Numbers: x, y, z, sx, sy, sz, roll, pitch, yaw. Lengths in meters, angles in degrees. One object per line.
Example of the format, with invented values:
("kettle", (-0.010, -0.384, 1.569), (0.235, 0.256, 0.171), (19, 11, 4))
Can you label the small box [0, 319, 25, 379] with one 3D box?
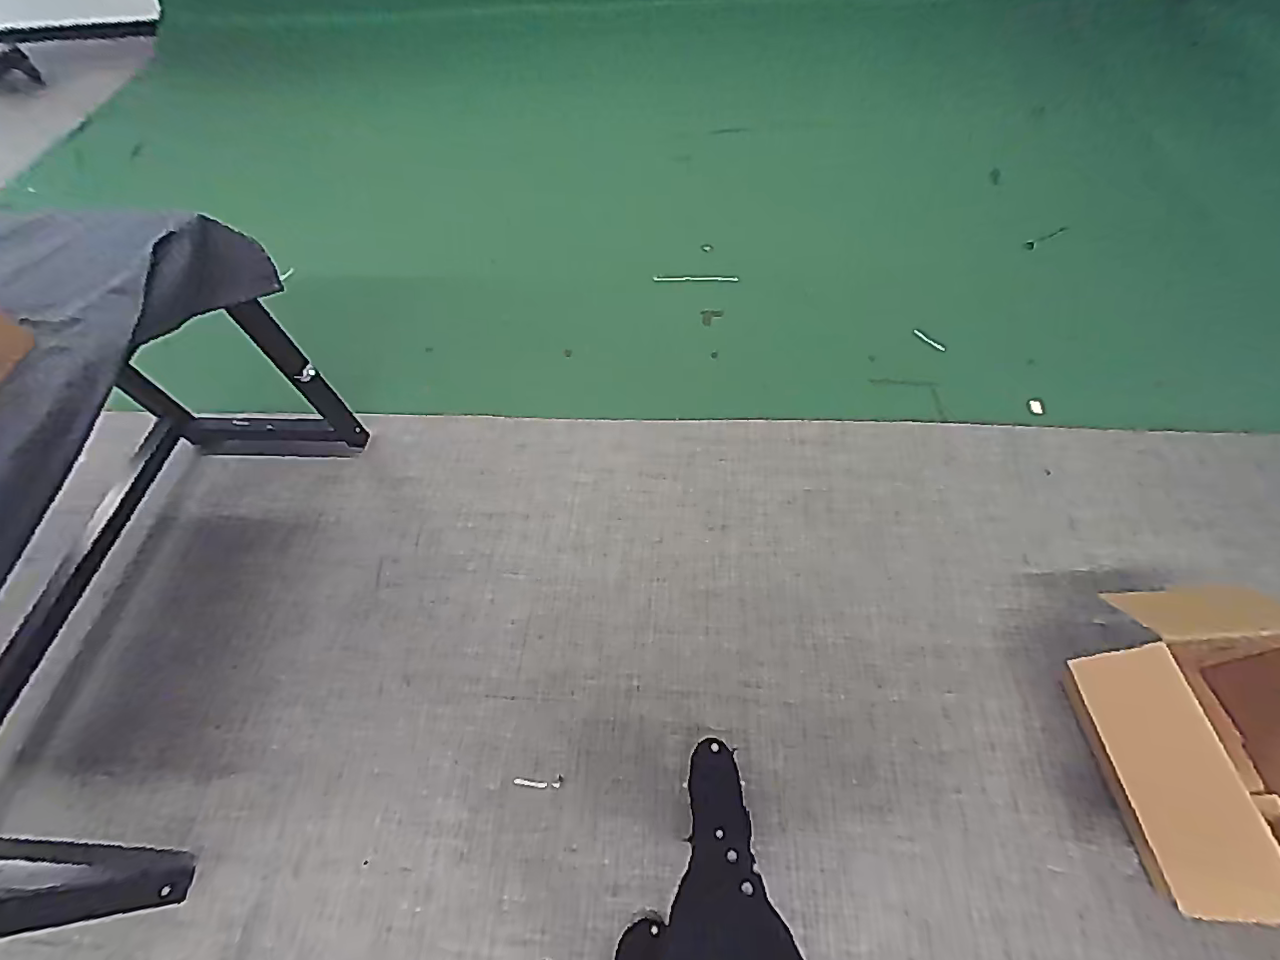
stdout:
("small box", (-1.103, -0.206, 0.802), (0.168, 0.176, 0.179), (2, 58, 5))
